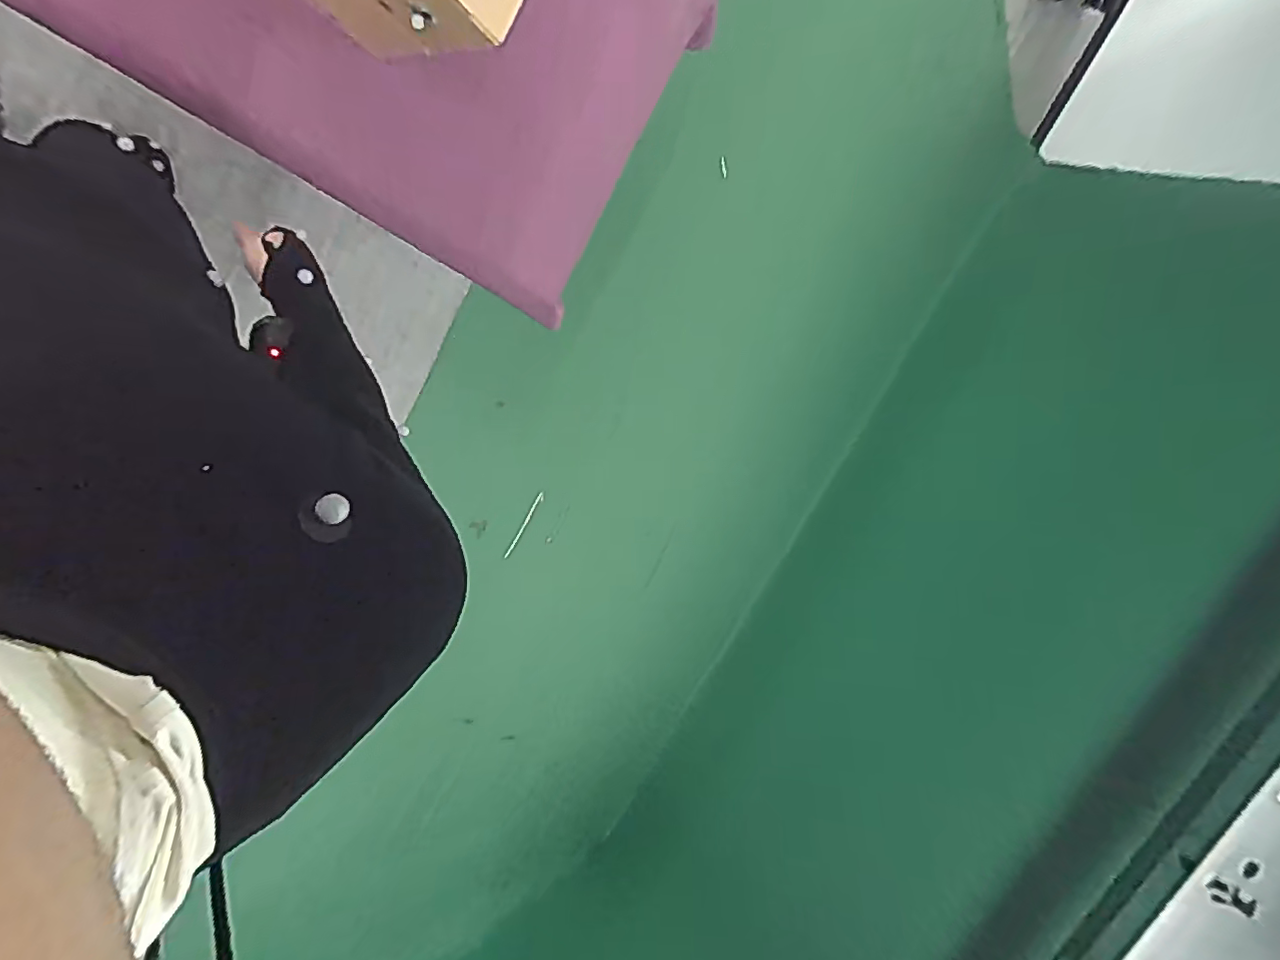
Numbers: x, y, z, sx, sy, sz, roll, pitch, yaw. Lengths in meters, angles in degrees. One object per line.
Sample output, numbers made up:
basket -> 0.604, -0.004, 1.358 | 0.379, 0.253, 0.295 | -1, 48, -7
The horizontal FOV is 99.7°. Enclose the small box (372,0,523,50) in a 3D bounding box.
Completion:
small box -> -0.187, -0.516, 0.467 | 0.168, 0.176, 0.179 | 20, 101, -52
